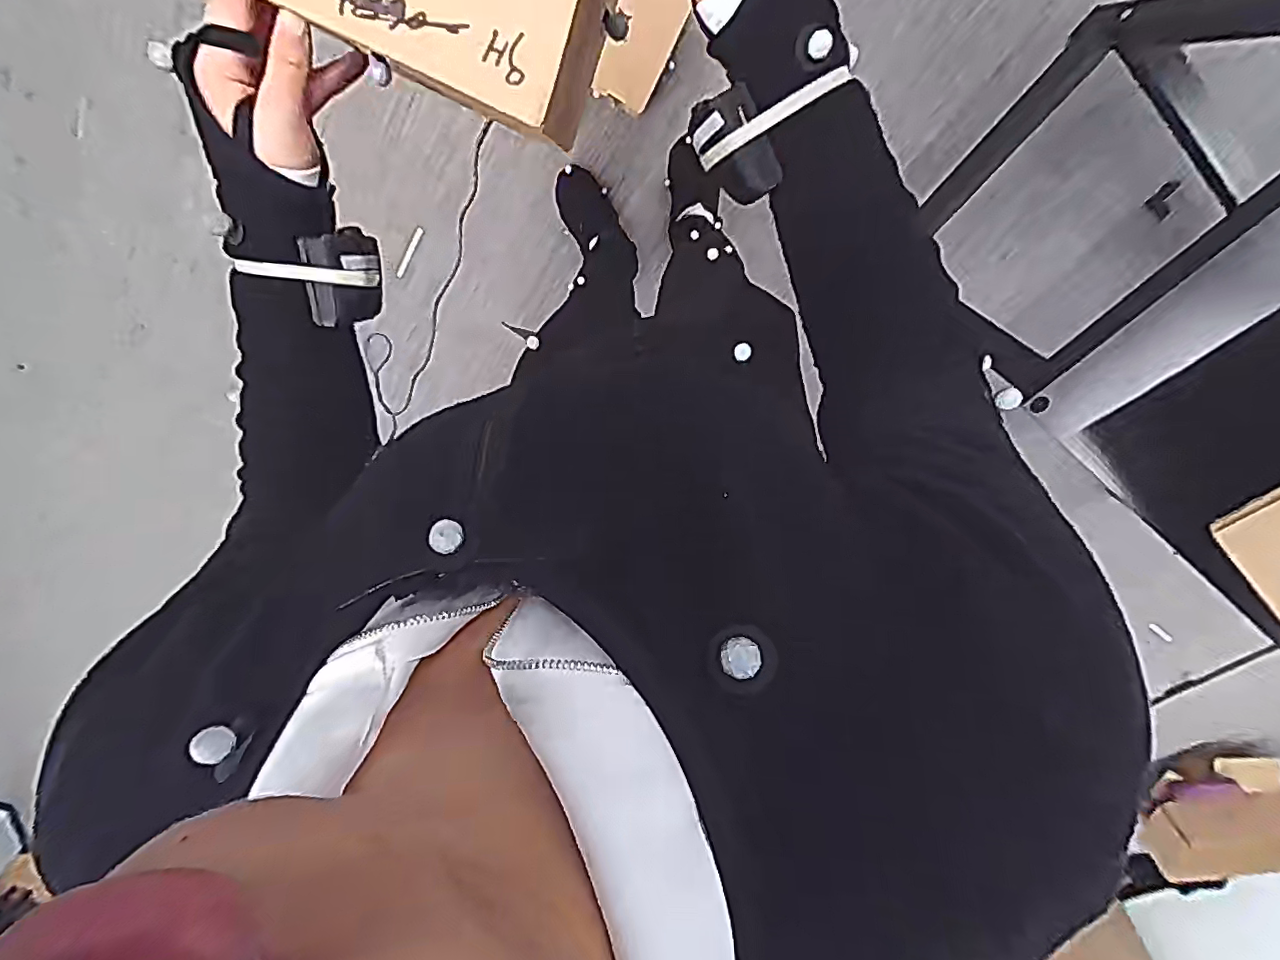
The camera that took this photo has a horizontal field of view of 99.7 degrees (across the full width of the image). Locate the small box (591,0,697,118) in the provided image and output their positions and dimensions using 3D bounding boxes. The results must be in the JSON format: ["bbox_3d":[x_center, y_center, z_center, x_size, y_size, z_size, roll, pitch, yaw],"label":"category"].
[{"bbox_3d":[-0.026,-0.720,0.869,0.168,0.176,0.179,24,121,-17],"label":"small box"}]

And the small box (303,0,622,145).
[{"bbox_3d":[-0.097,-0.344,0.340,0.168,0.176,0.179,21,114,-11],"label":"small box"}]
